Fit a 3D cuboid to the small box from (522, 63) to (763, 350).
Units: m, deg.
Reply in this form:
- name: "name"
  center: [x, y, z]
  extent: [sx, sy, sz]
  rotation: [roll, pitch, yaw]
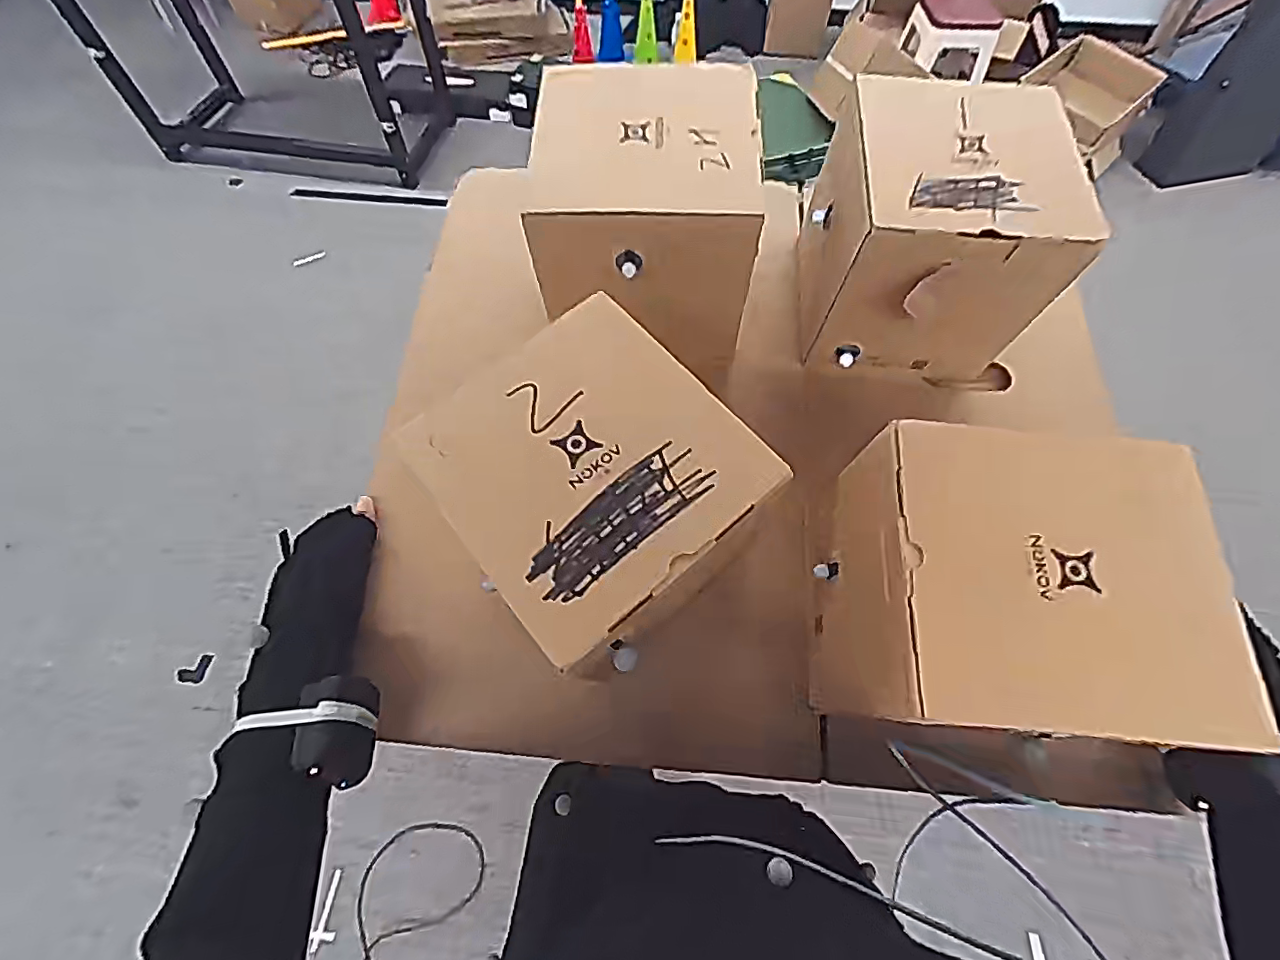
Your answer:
- name: "small box"
  center: [0.008, -0.233, 0.487]
  extent: [0.179, 0.176, 0.168]
  rotation: [2, 69, 3]

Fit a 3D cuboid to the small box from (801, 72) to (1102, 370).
- name: "small box"
  center: [0.249, -0.218, 0.484]
  extent: [0.168, 0.176, 0.179]
  rotation: [5, 67, 2]
